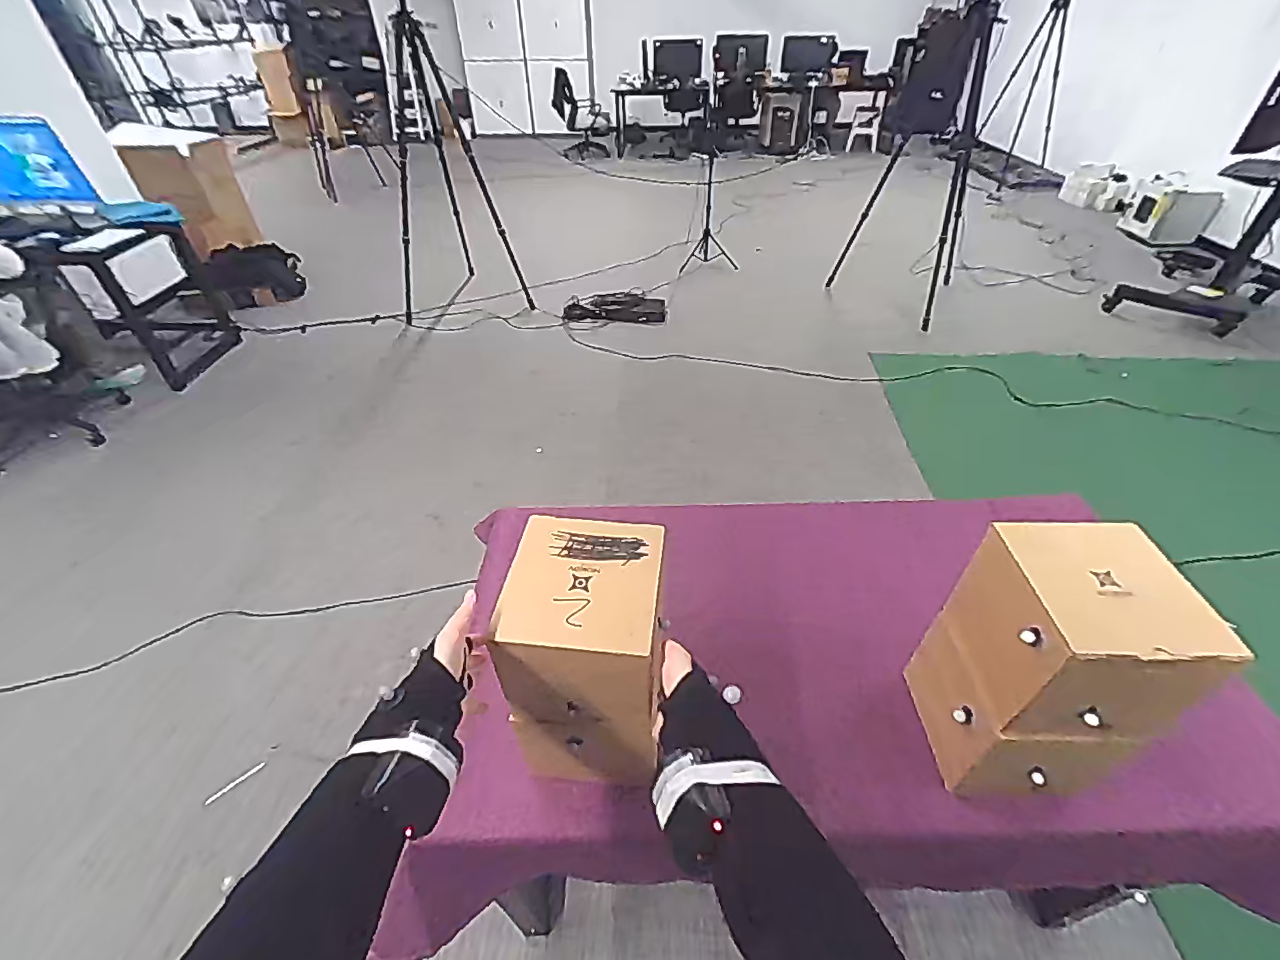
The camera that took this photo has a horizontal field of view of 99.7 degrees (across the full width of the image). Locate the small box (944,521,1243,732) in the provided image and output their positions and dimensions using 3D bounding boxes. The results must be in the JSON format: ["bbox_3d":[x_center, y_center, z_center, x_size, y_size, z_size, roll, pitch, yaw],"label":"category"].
[{"bbox_3d":[0.488,0.167,0.623,0.168,0.176,0.179,0,42,1],"label":"small box"}]

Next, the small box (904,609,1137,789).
[{"bbox_3d":[0.485,0.295,0.725,0.168,0.176,0.179,0,41,1],"label":"small box"}]

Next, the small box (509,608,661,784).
[{"bbox_3d":[-0.062,0.295,0.740,0.179,0.176,0.168,2,41,3],"label":"small box"}]
